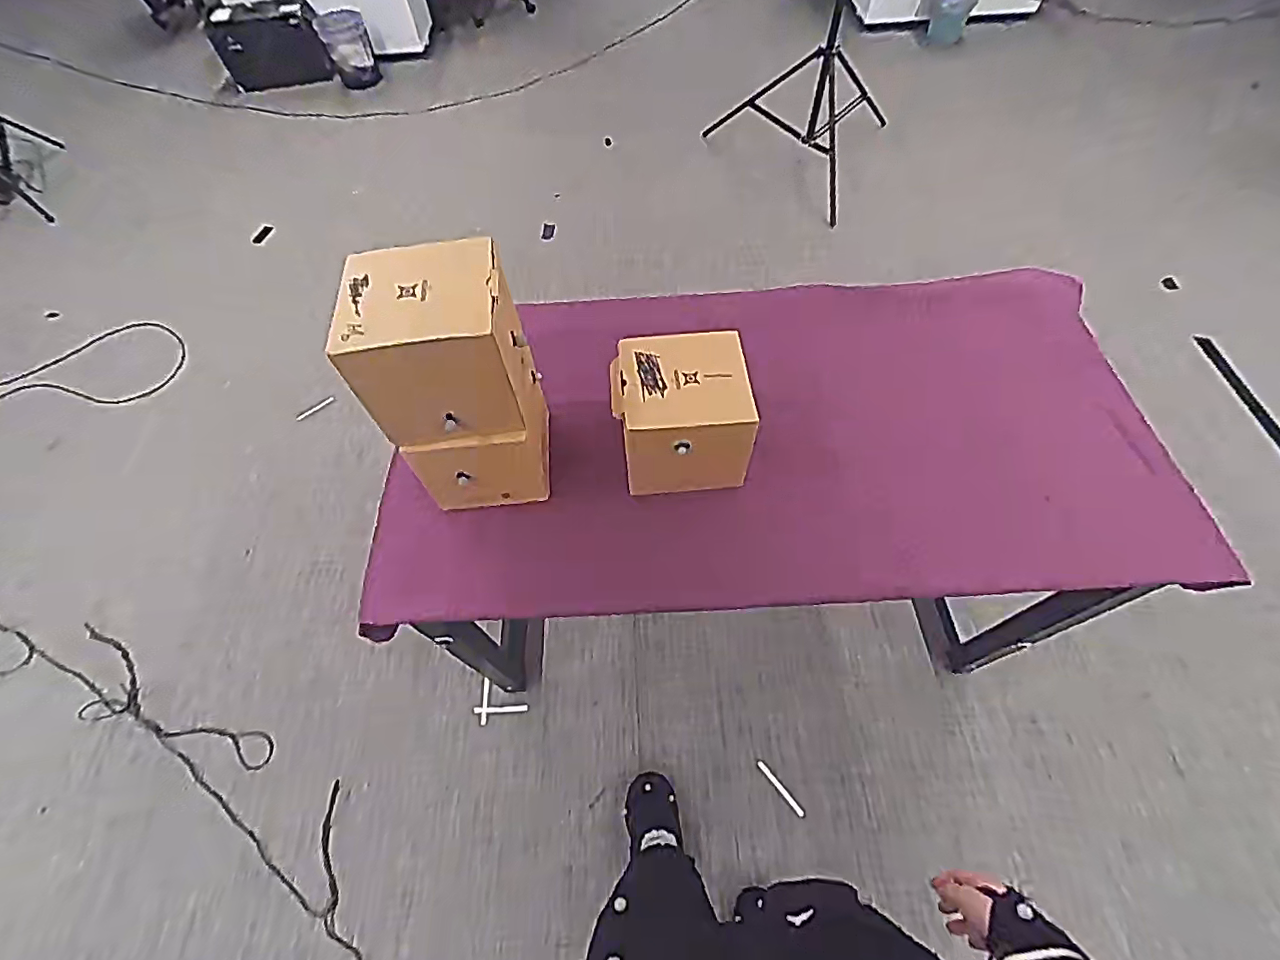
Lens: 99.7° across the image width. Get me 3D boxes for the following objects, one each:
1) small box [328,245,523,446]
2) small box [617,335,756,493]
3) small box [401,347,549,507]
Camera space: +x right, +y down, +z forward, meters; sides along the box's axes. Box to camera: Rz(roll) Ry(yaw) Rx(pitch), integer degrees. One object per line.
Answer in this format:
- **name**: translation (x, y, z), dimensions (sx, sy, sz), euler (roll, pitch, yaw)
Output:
- **small box**: translation (-0.244, -0.160, 0.669), dimensions (0.179, 0.176, 0.168), euler (-7, 58, -3)
- **small box**: translation (0.062, -0.091, 0.804), dimensions (0.179, 0.176, 0.168), euler (-4, 59, -1)
- **small box**: translation (-0.232, -0.070, 0.806), dimensions (0.168, 0.176, 0.179), euler (-6, 58, -1)
